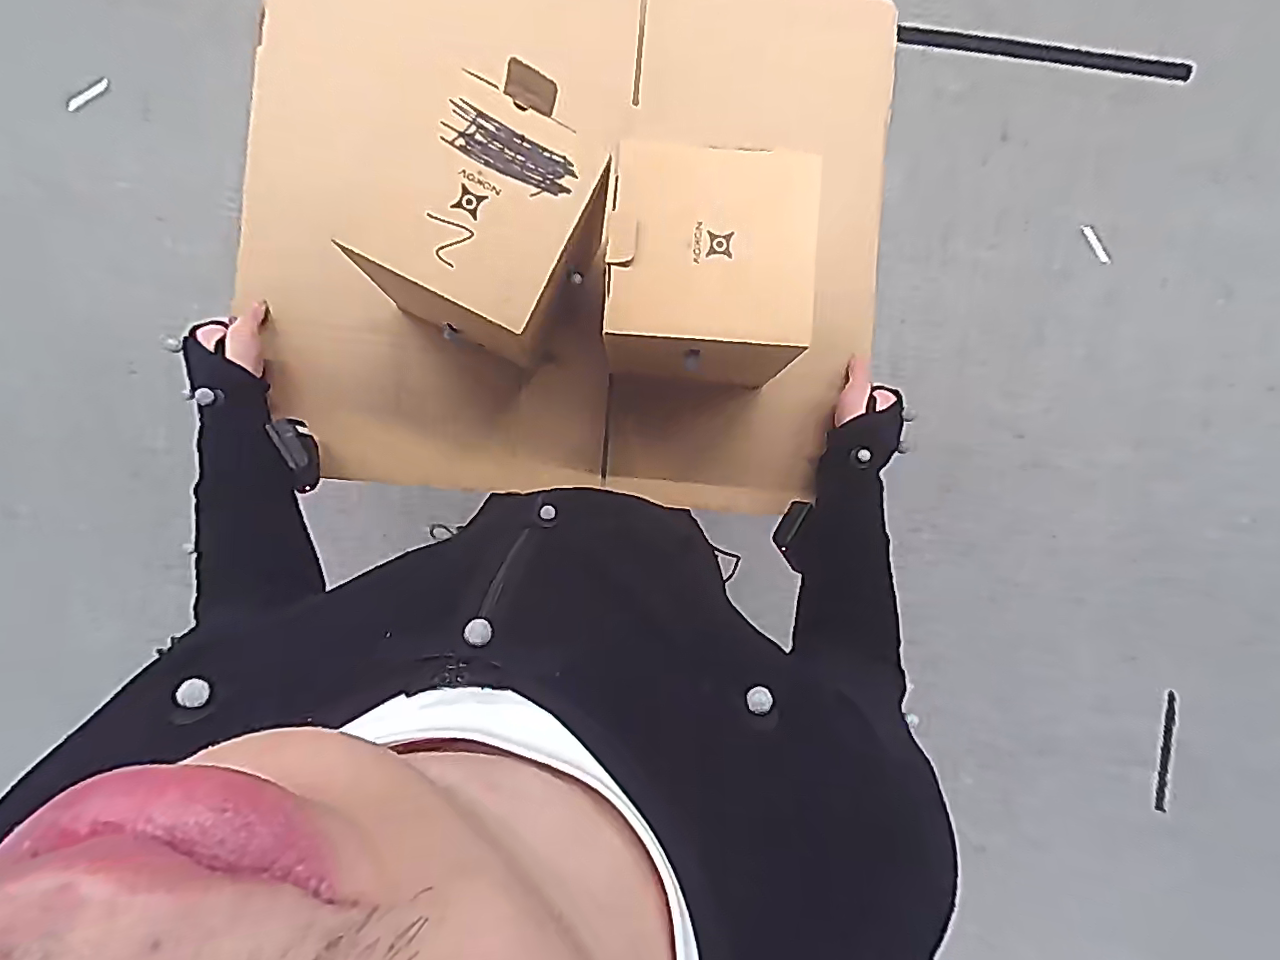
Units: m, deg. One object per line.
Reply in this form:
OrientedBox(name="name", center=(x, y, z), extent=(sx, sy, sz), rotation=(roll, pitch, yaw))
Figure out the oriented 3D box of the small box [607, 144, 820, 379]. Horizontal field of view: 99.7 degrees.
OrientedBox(name="small box", center=(0.063, -0.202, 0.546), extent=(0.179, 0.176, 0.168), rotation=(4, 89, 0))
